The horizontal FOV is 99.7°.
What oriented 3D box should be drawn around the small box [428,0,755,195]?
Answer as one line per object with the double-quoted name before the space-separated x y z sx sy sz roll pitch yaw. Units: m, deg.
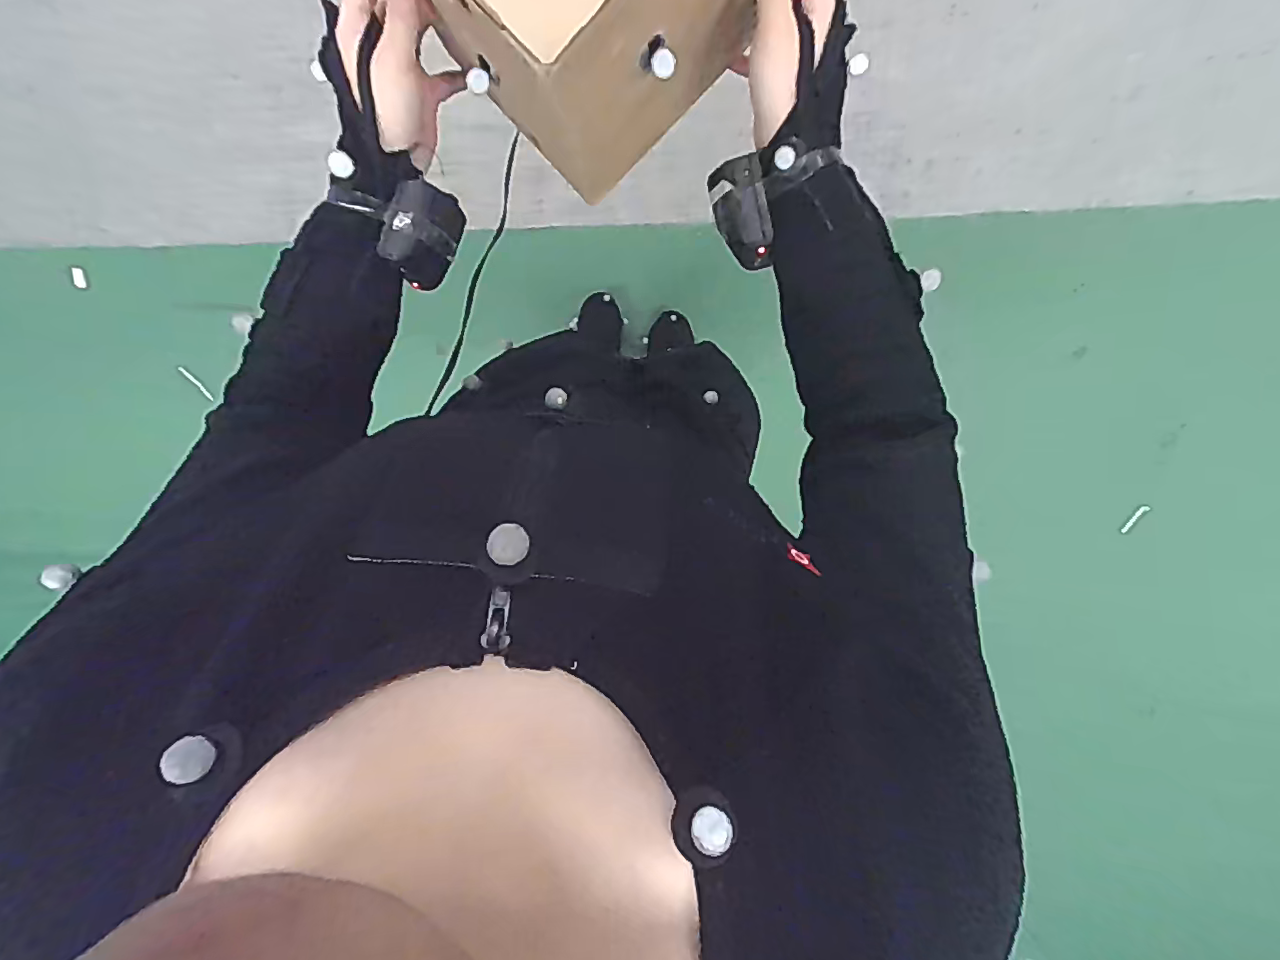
"small box" -0.034 -0.325 0.340 0.179 0.176 0.168 -43 92 7
